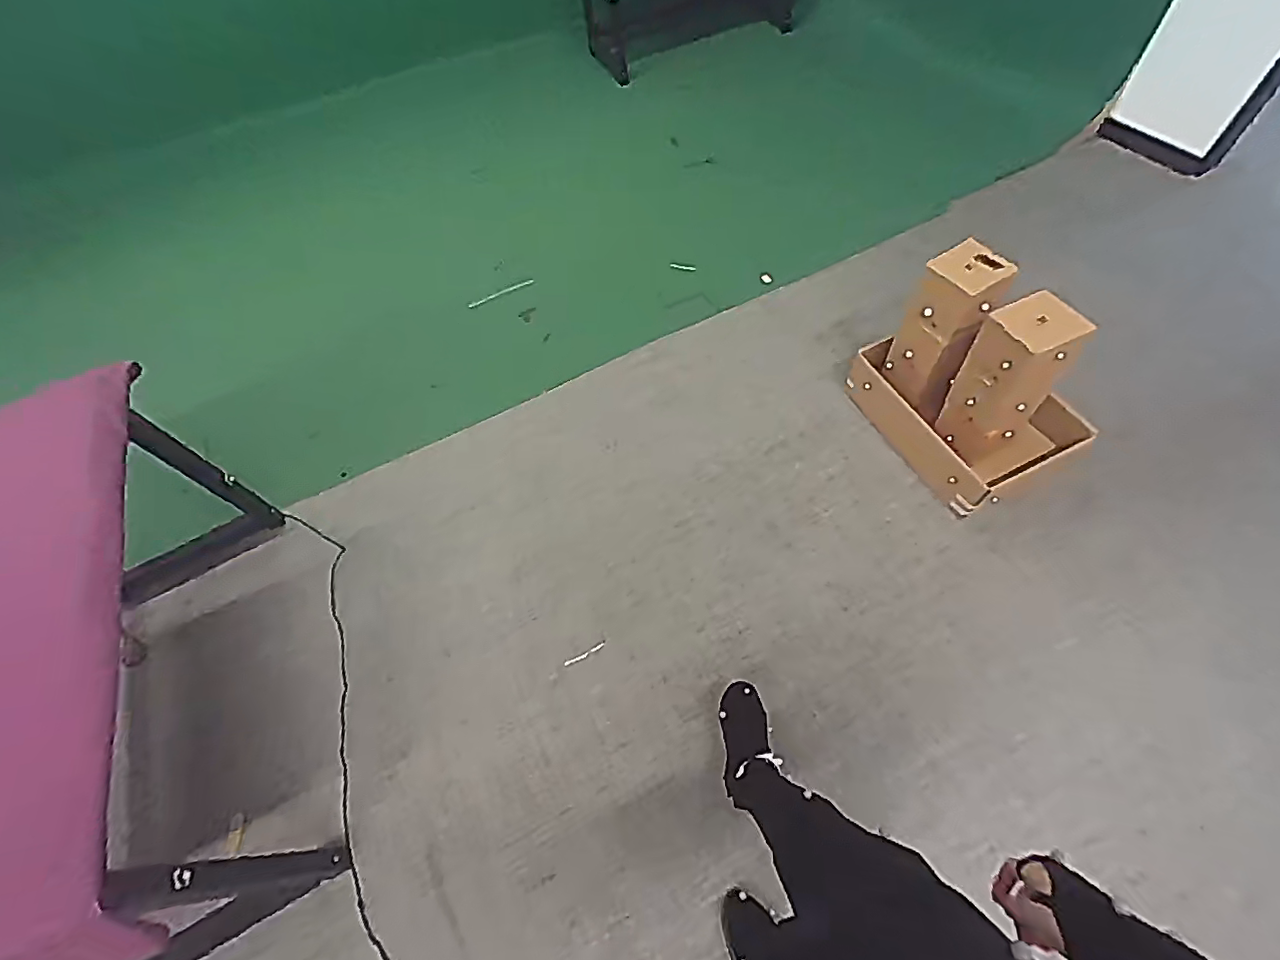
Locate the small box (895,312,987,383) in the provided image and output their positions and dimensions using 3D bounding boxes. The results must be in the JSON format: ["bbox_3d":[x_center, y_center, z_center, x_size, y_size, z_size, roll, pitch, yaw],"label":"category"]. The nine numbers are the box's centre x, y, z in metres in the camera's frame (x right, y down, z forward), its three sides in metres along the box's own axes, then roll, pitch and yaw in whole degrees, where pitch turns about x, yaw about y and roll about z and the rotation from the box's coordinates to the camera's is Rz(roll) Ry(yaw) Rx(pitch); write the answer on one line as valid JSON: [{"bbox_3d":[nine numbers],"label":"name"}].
[{"bbox_3d":[0.921,-0.432,1.657,0.179,0.176,0.168,-25,60,-8],"label":"small box"}]

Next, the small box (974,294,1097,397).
[{"bbox_3d":[1.009,-0.343,1.404,0.179,0.176,0.168,-22,57,-5],"label":"small box"}]

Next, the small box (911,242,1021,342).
[{"bbox_3d":[0.904,-0.525,1.521,0.179,0.176,0.168,-30,61,-11],"label":"small box"}]
